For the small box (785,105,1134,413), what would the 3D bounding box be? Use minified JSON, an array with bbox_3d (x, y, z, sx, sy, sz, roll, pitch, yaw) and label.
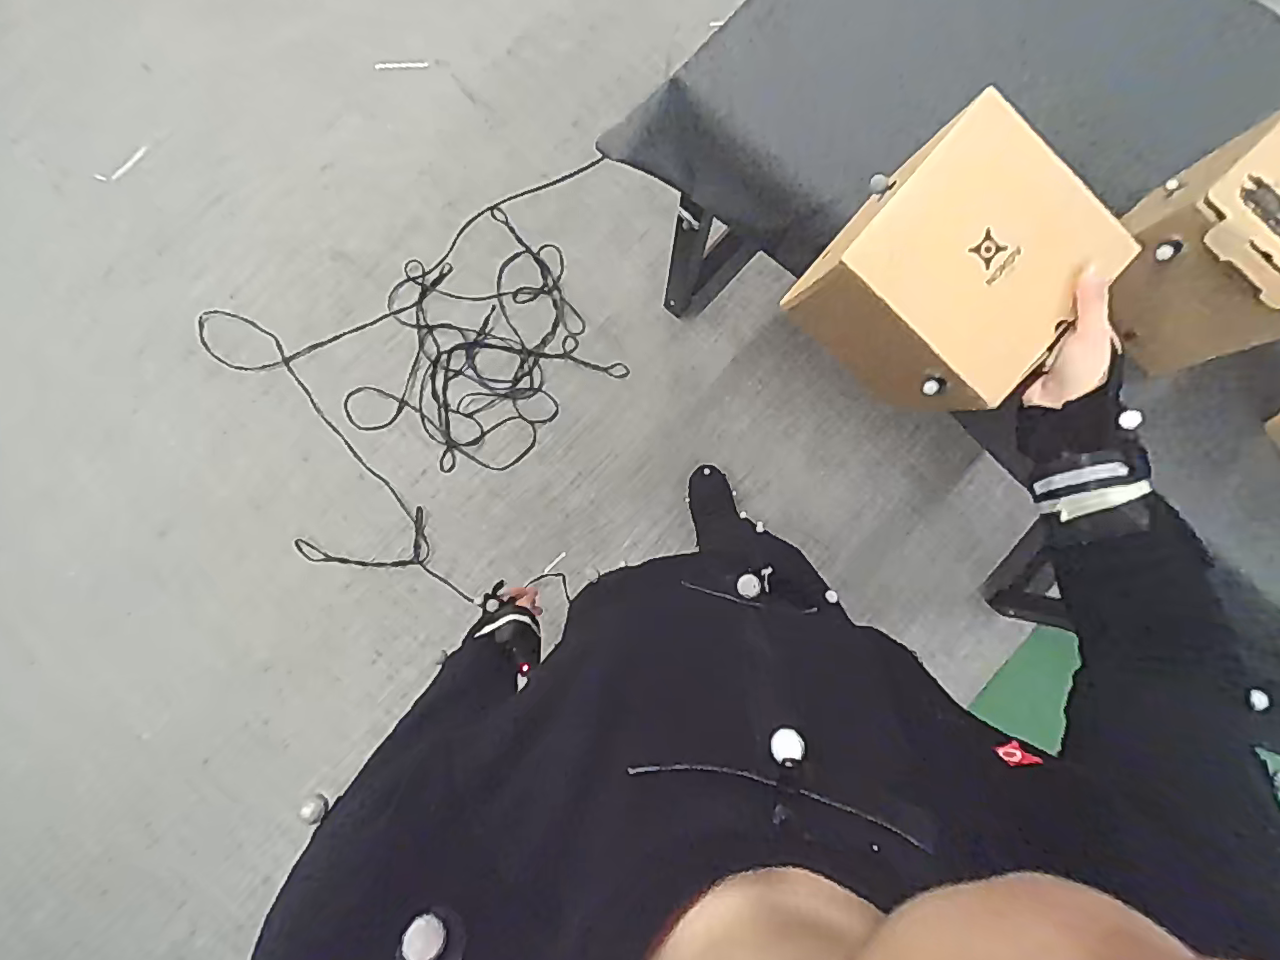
[{"bbox_3d":[0.264,-0.174,0.494,0.179,0.176,0.168,40,94,-7],"label":"small box"}]
